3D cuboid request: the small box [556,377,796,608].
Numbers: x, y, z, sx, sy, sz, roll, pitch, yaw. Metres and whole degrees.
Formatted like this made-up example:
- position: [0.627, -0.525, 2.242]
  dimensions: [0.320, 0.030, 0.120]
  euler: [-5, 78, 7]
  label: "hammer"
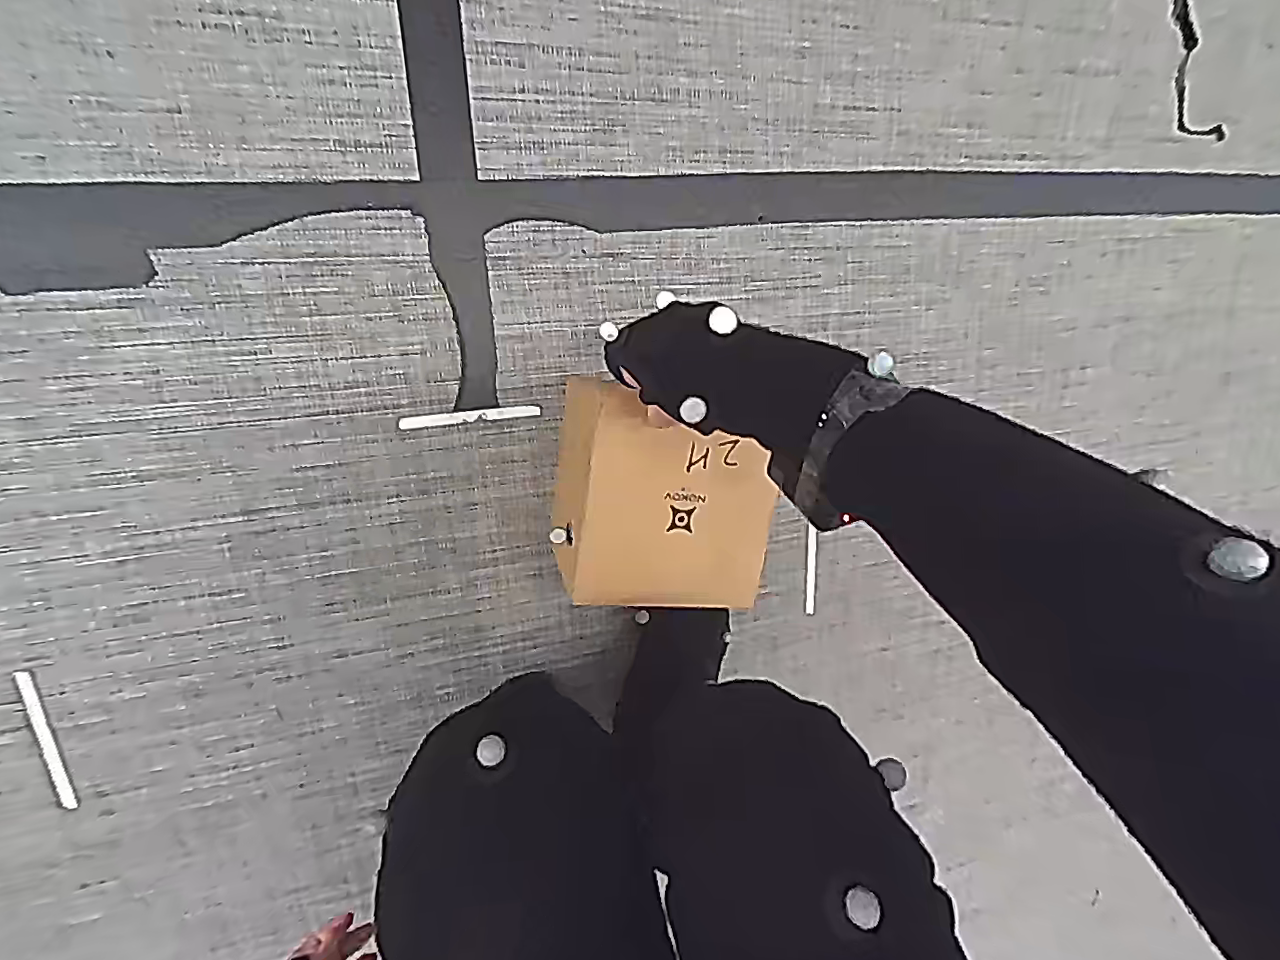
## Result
- position: [0.018, 0.004, 0.513]
  dimensions: [0.168, 0.176, 0.179]
  euler: [5, 102, -18]
  label: "small box"
